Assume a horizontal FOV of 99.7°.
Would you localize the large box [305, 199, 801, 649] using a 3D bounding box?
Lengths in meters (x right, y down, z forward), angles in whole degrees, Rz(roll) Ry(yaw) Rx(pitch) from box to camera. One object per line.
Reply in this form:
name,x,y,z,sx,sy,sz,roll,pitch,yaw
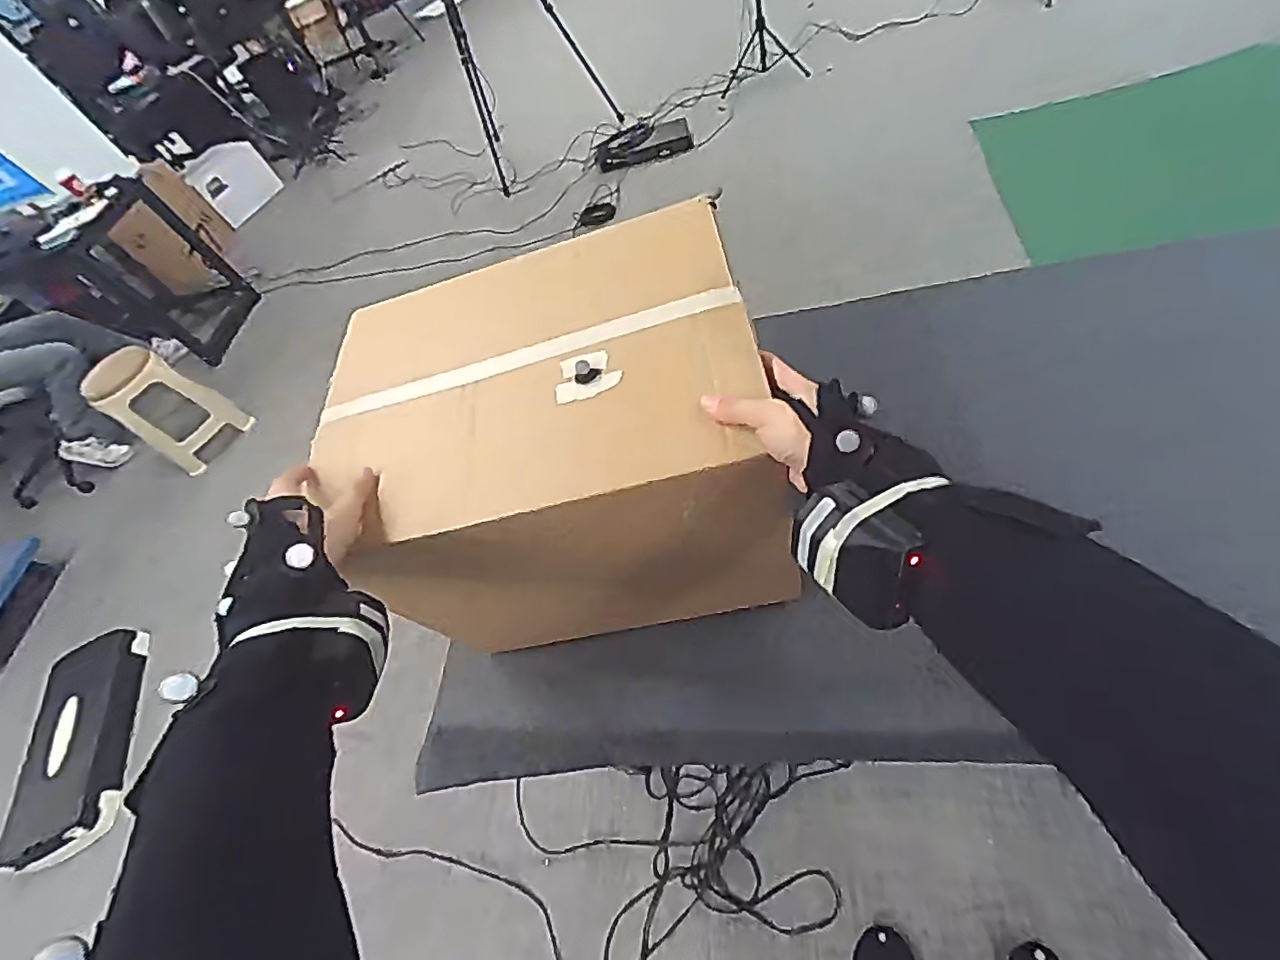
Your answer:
large box,-0.060,-0.032,0.607,0.408,0.320,0.320,-13,57,9
